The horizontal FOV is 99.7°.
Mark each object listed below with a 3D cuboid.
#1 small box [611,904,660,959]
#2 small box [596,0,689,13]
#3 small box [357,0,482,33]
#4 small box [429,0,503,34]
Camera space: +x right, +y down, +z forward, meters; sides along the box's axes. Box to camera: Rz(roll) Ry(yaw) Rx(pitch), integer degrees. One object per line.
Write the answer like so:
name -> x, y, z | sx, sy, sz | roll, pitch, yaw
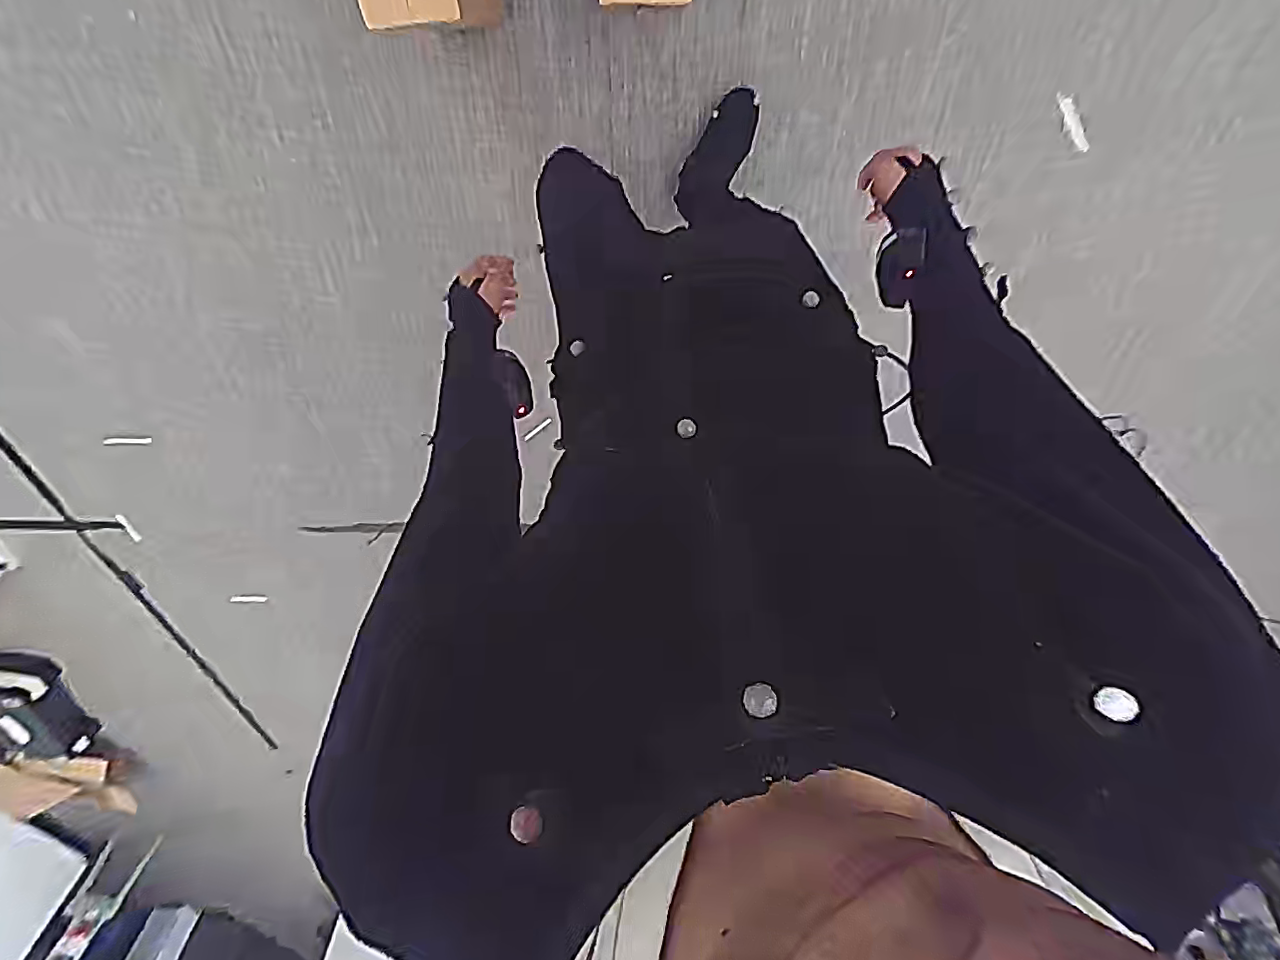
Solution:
small box -> -0.016, 1.684, 1.988 | 0.179, 0.176, 0.168 | -2, 129, 1
small box -> 0.006, -0.996, 1.021 | 0.179, 0.176, 0.168 | 0, 129, -2
small box -> -0.382, -0.873, 0.909 | 0.168, 0.176, 0.179 | -3, 129, 3
small box -> -0.374, -0.978, 1.034 | 0.168, 0.176, 0.179 | -4, 128, 4
